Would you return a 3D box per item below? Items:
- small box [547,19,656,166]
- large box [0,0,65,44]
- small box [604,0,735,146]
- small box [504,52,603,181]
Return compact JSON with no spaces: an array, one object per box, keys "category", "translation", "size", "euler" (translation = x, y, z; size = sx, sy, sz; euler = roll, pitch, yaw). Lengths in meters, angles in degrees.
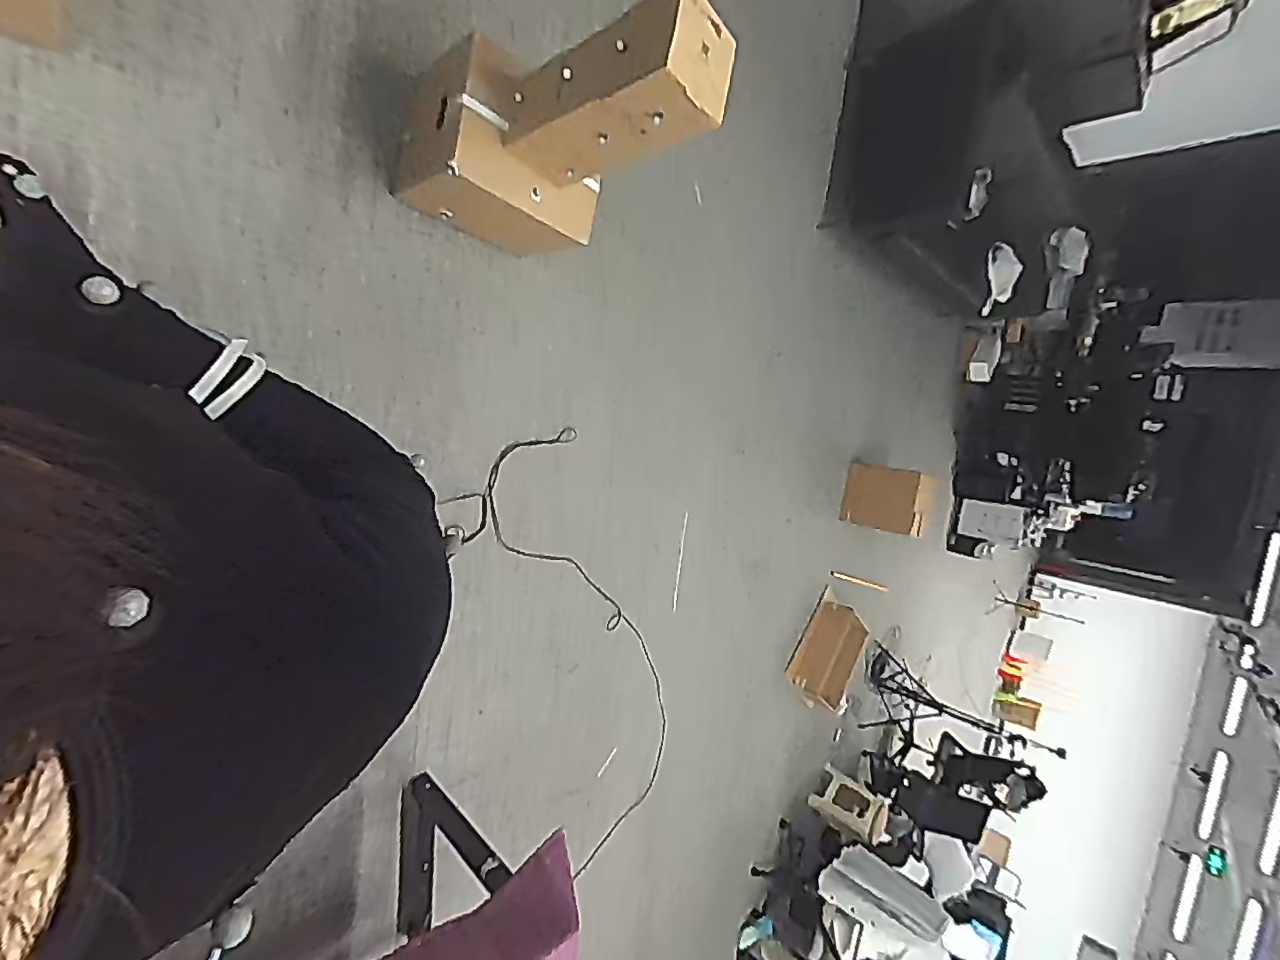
[{"category":"small box","translation":[-0.065,-0.797,1.141],"size":[0.179,0.176,0.168],"euler":[16,85,-46]},{"category":"large box","translation":[-1.006,-0.932,0.723],"size":[0.320,0.320,0.408],"euler":[0,99,-46]},{"category":"small box","translation":[0.052,-0.779,1.027],"size":[0.168,0.176,0.179],"euler":[15,87,-48]},{"category":"small box","translation":[-0.184,-0.824,1.251],"size":[0.179,0.176,0.168],"euler":[14,87,-47]}]
